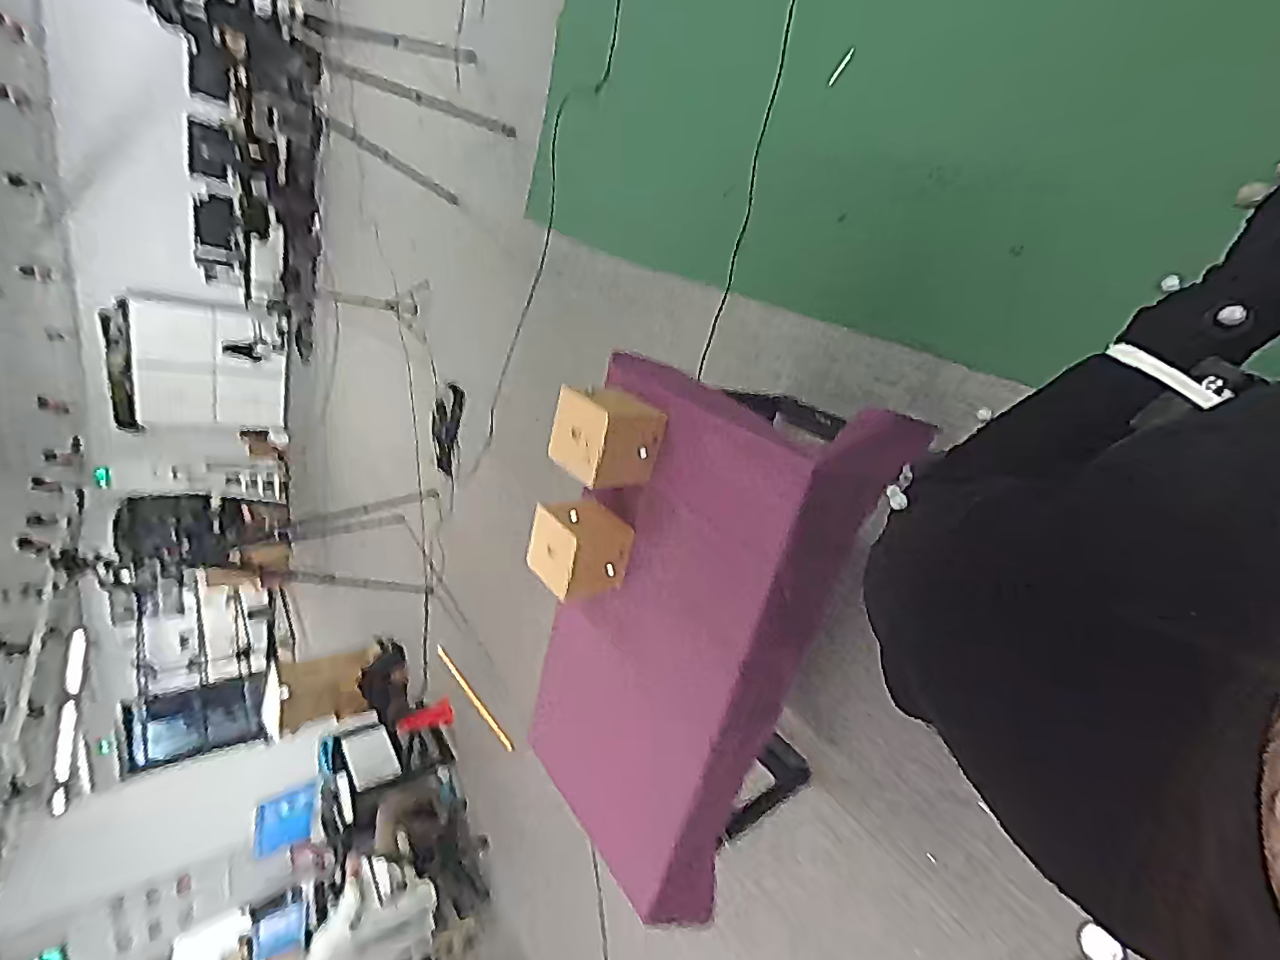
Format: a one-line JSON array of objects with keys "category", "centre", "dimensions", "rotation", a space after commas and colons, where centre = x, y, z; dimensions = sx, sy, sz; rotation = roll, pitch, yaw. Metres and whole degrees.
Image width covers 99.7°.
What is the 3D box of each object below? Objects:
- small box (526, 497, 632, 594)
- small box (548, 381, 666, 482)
[{"category": "small box", "centre": [-0.148, 0.150, 1.304], "dimensions": [0.179, 0.176, 0.168], "rotation": [34, 117, 41]}, {"category": "small box", "centre": [-0.073, -0.108, 1.196], "dimensions": [0.179, 0.176, 0.168], "rotation": [35, 118, 38]}]
